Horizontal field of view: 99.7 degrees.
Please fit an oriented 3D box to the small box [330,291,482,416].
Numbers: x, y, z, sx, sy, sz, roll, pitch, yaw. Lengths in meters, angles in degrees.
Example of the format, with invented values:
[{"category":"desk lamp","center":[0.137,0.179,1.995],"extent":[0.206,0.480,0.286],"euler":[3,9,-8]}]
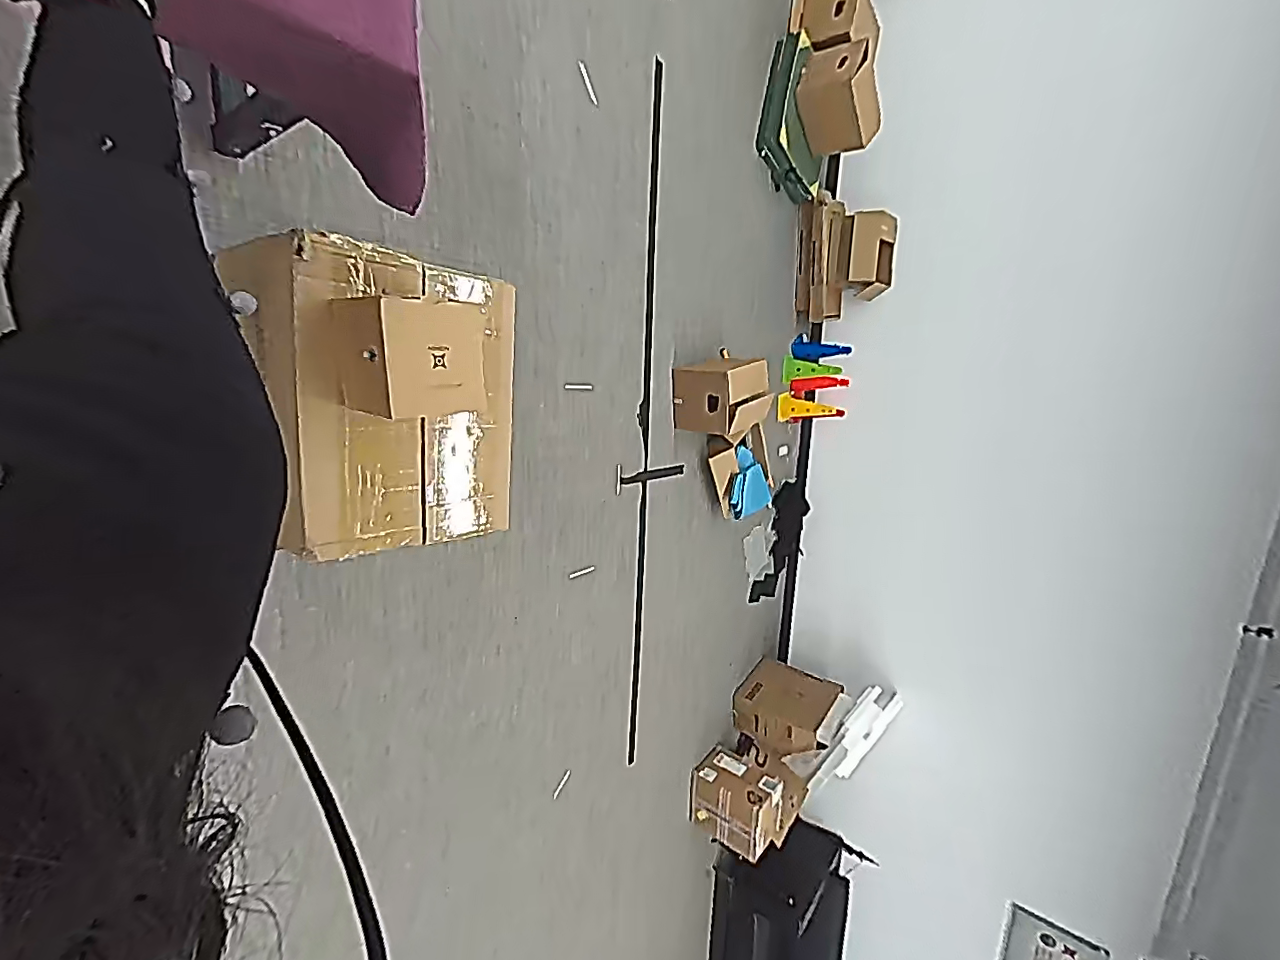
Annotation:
[{"category":"small box","center":[-0.374,-0.203,0.868],"extent":[0.168,0.176,0.179],"euler":[-15,113,-48]}]
